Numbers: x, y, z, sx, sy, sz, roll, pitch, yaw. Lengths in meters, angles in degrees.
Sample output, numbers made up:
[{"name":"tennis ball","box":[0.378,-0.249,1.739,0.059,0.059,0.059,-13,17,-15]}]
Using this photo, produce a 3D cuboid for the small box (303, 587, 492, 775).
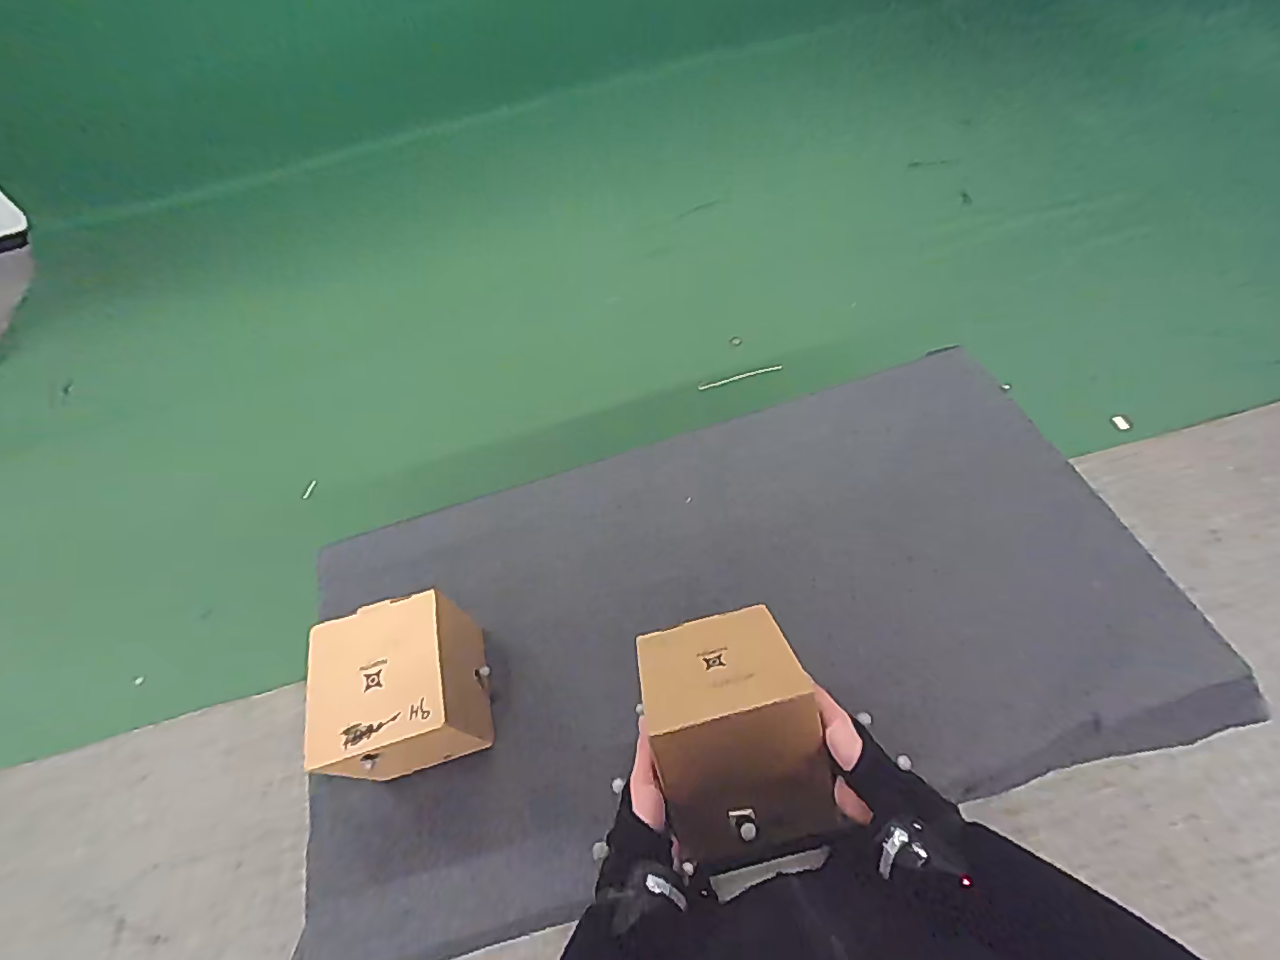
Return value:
[{"name":"small box","box":[-0.310,0.272,0.720,0.168,0.176,0.179,-17,57,-2]}]

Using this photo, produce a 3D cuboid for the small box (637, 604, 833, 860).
[{"name":"small box","box":[0.097,0.269,0.604,0.168,0.176,0.179,-15,16,0]}]
